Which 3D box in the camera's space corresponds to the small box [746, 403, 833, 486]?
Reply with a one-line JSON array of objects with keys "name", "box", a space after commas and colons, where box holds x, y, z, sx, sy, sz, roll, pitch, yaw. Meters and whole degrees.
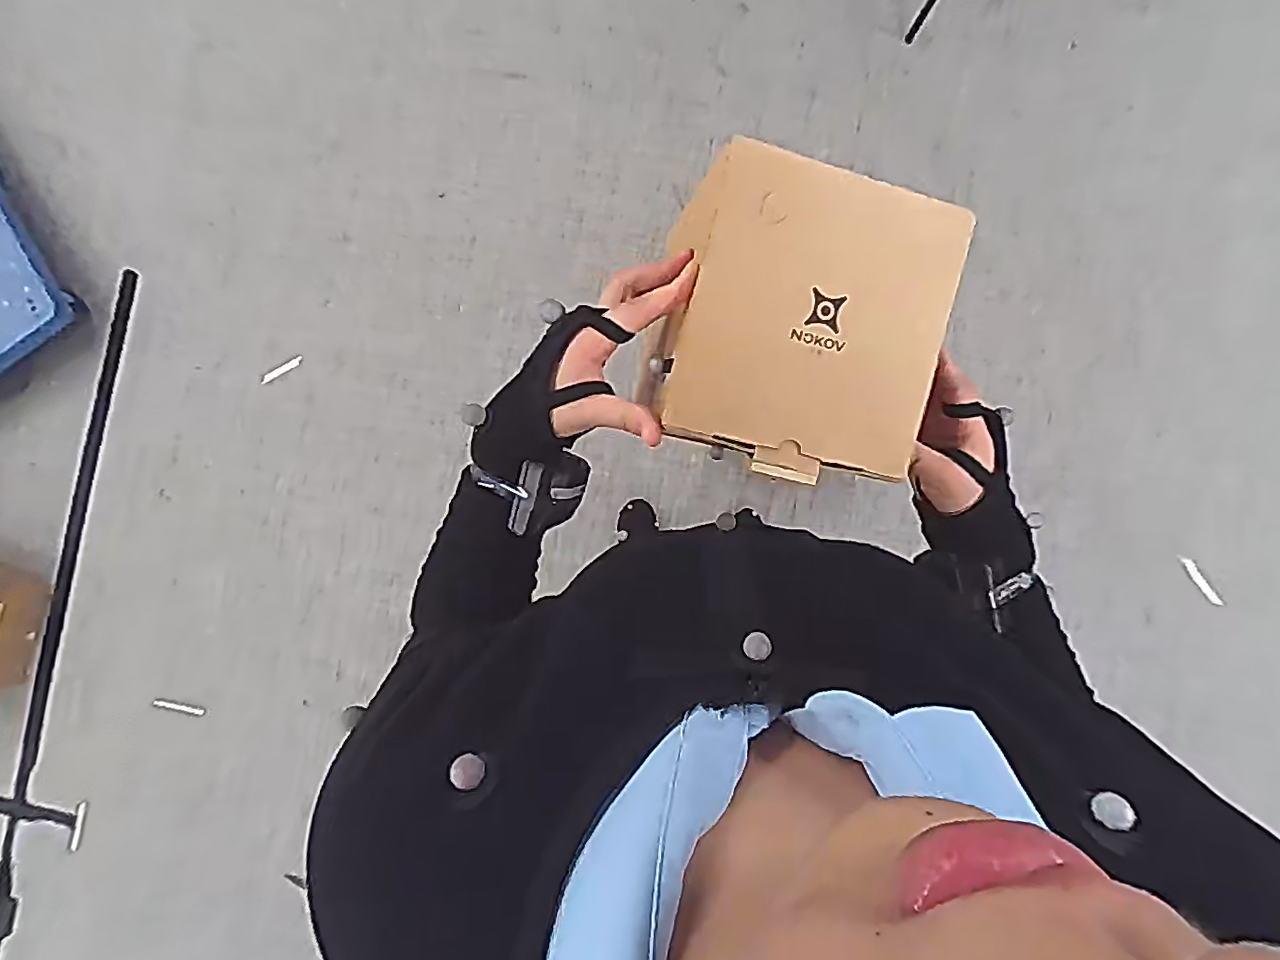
[{"name": "small box", "box": [0.383, -0.085, 1.415, 0.168, 0.176, 0.179, 14, 88, 3]}]
